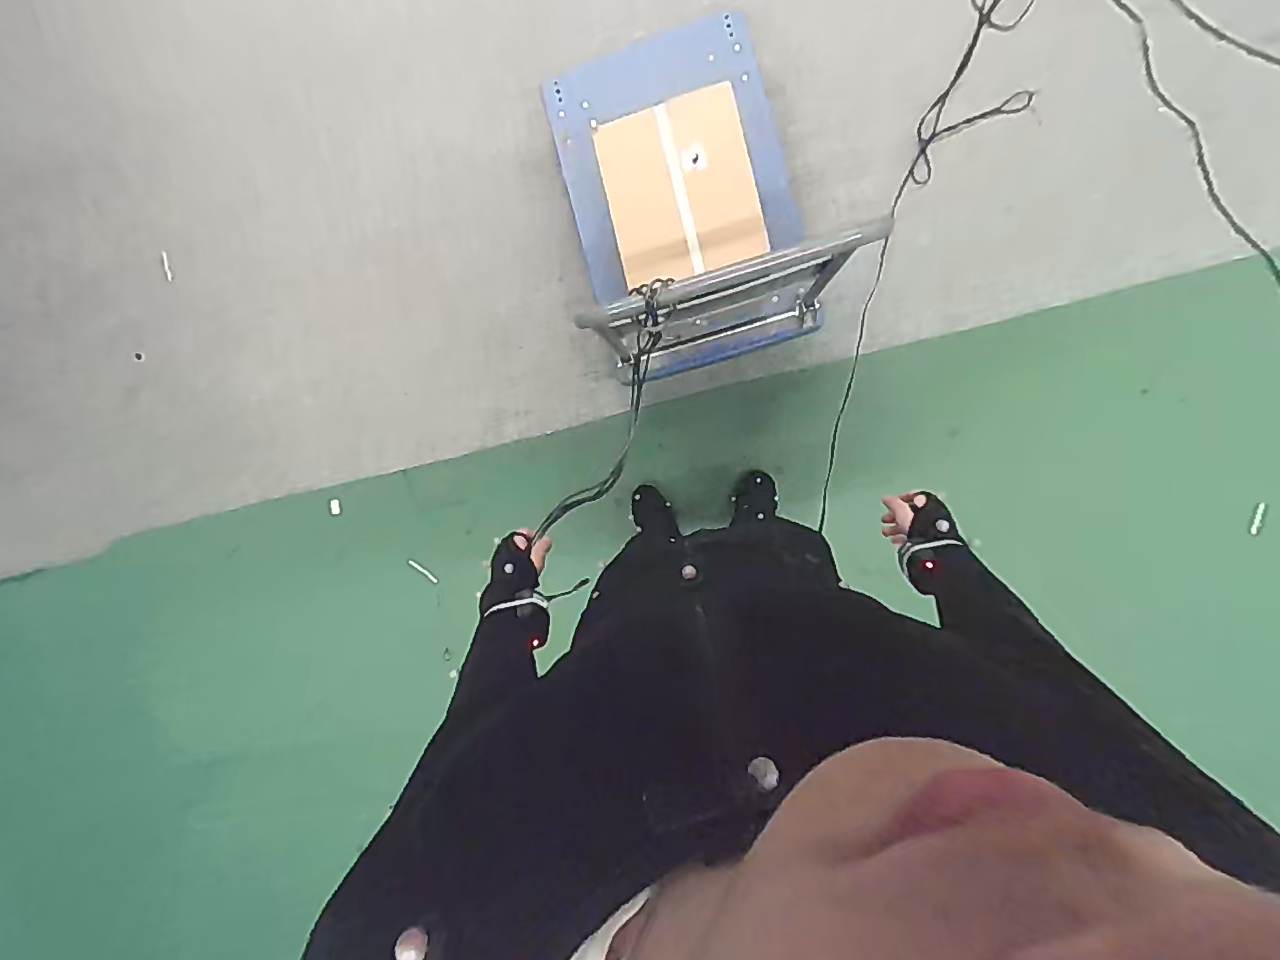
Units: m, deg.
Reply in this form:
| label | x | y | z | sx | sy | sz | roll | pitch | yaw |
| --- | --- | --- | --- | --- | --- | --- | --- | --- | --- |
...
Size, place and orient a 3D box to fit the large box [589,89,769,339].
| label | x | y | z | sx | sy | sz | roll | pitch | yaw |
| --- | --- | --- | --- | --- | --- | --- | --- | --- | --- |
| large box | 0.102 | -0.608 | 1.313 | 0.320 | 0.320 | 0.408 | -14 | 89 | 8 |
